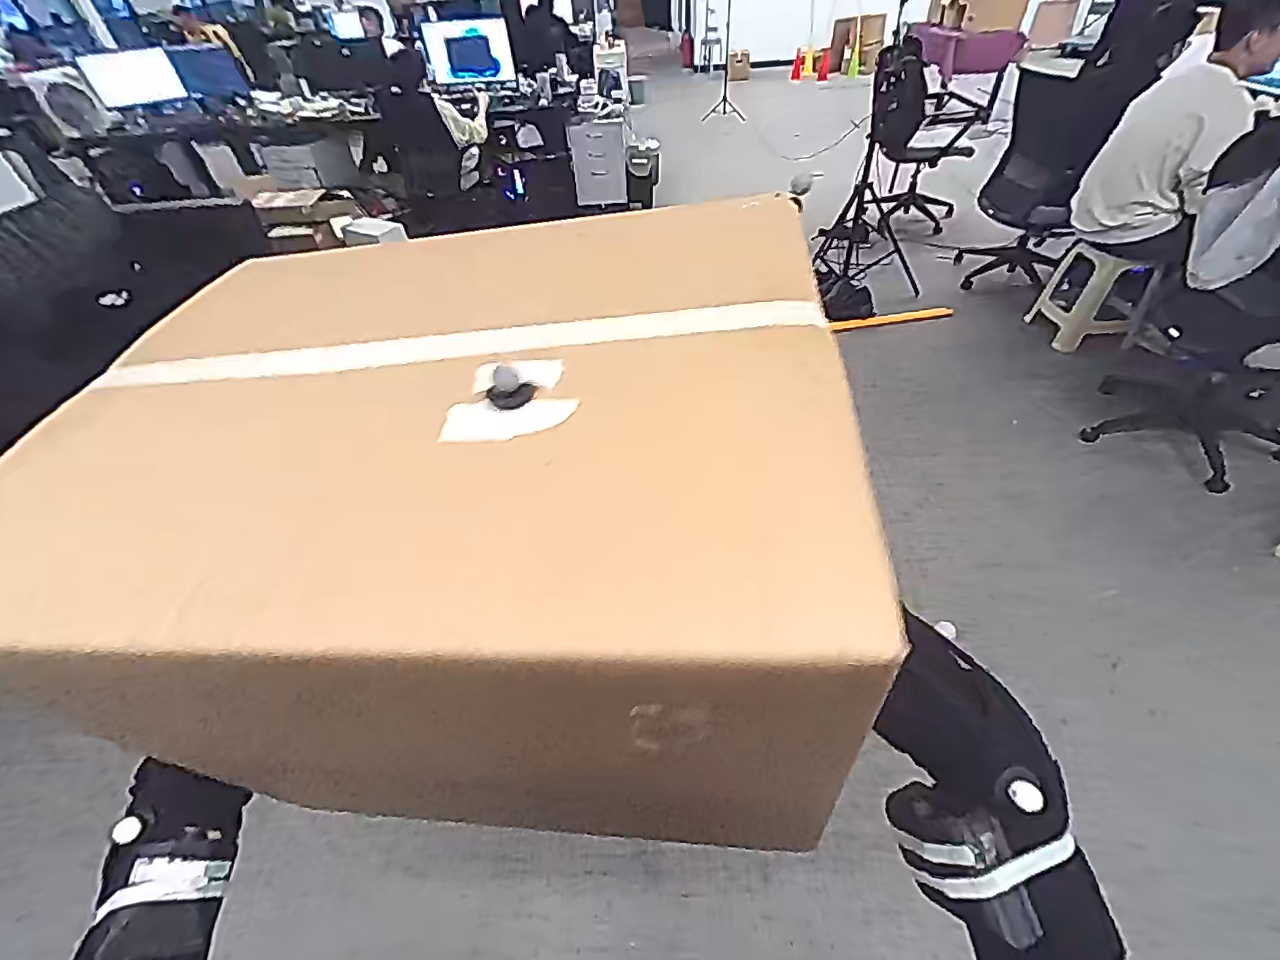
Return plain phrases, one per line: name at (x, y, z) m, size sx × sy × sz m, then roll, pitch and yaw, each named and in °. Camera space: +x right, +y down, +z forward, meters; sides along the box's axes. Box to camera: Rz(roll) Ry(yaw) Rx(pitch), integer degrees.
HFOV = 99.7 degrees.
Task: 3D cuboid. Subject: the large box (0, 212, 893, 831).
large box at (-0.083, 0.041, 0.401) m, size 0.408 × 0.320 × 0.320 m, roll -1°, pitch 49°, yaw 10°
